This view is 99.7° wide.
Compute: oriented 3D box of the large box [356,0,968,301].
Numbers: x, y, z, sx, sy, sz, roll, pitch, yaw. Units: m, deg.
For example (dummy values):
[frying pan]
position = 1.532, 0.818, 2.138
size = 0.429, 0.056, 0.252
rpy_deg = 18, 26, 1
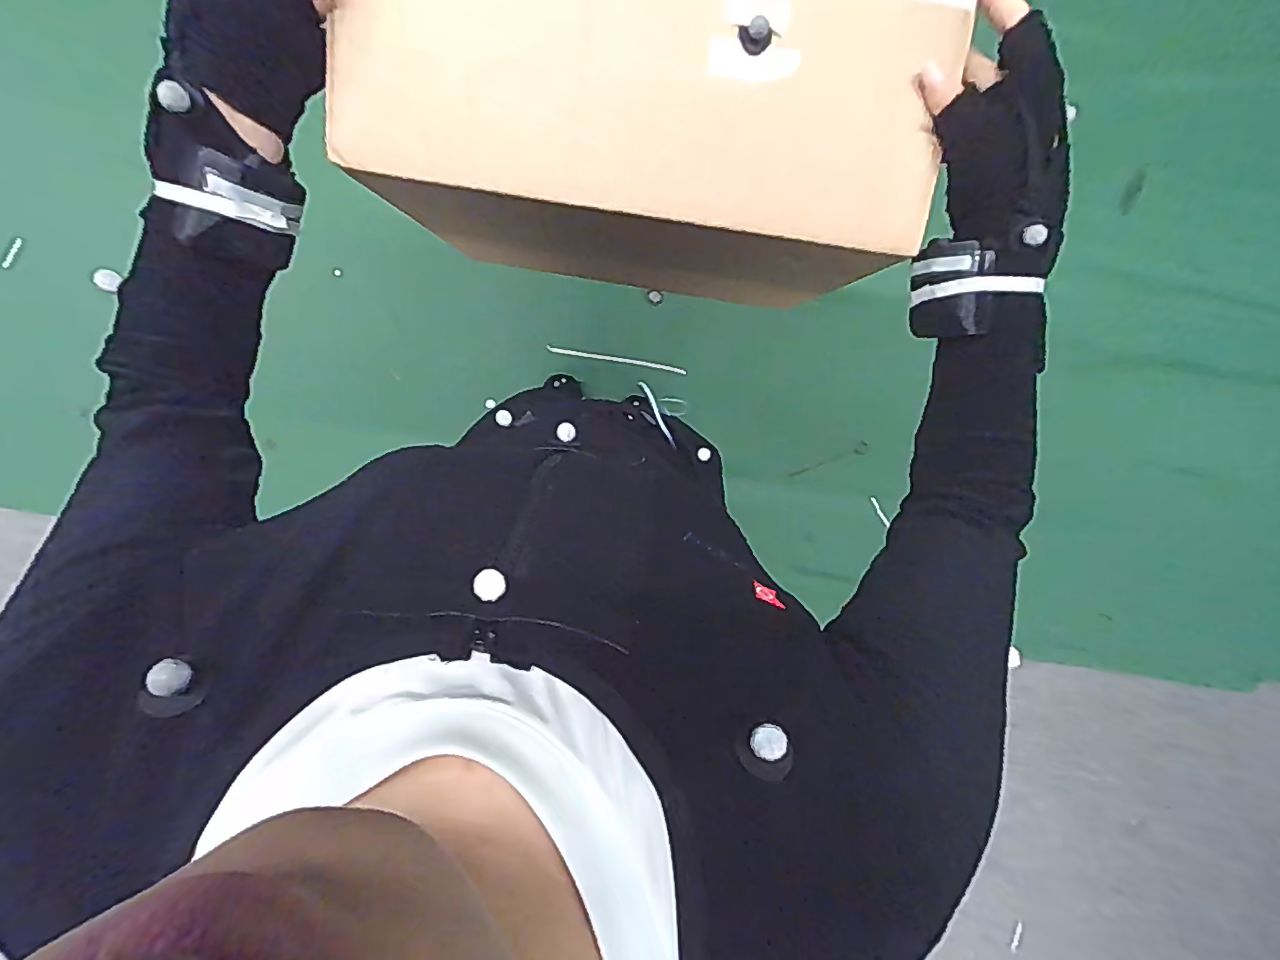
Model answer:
[large box]
position = 0.018, -0.368, 0.496
size = 0.408, 0.320, 0.320
rpy_deg = 8, 101, -2
